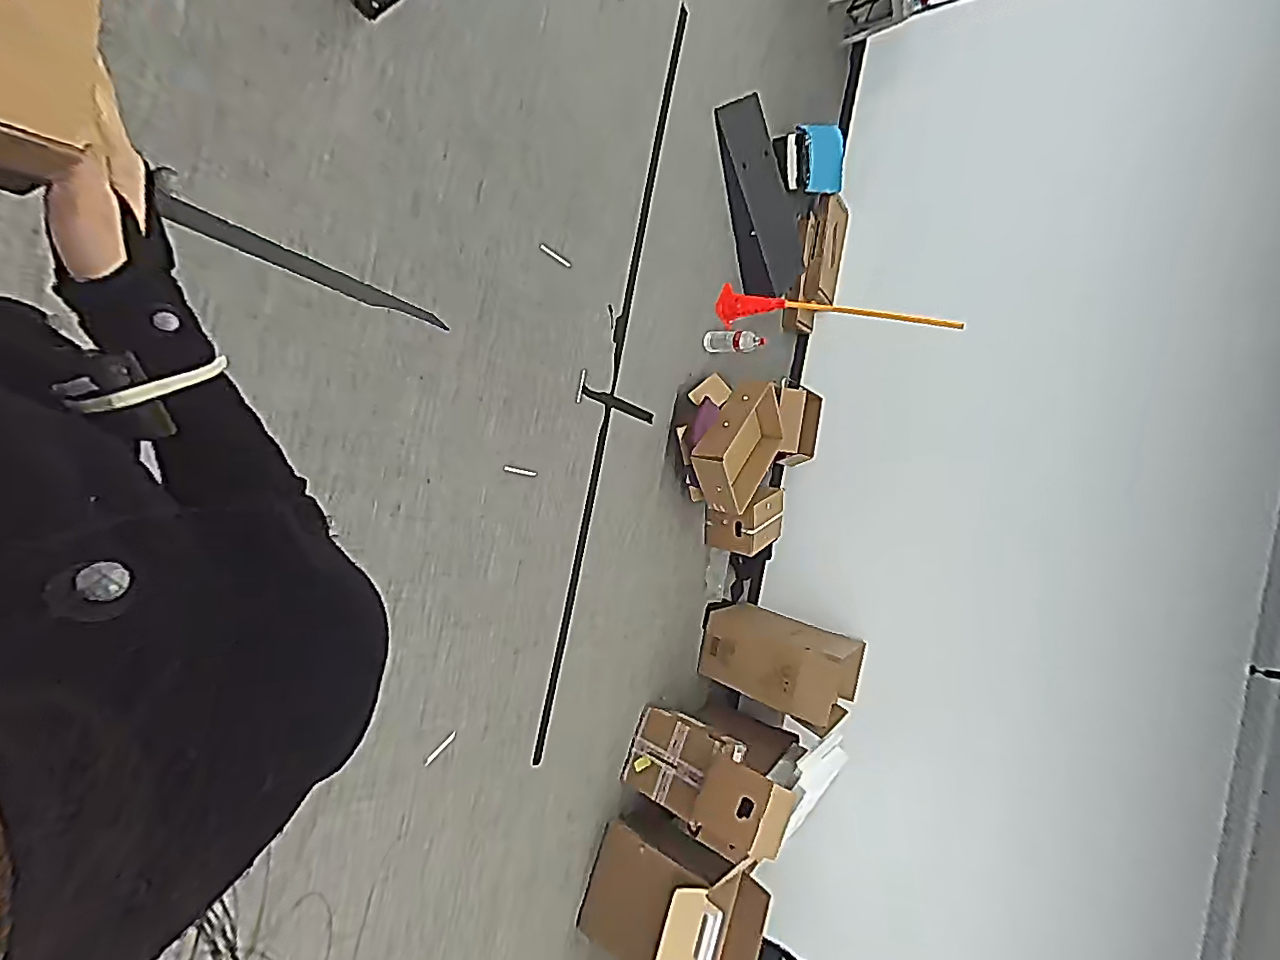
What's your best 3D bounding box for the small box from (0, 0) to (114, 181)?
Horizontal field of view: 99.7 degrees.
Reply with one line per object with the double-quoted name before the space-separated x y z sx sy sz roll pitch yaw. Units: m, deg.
"small box" -0.331 -0.239 0.206 0.168 0.176 0.179 -1 103 -56
